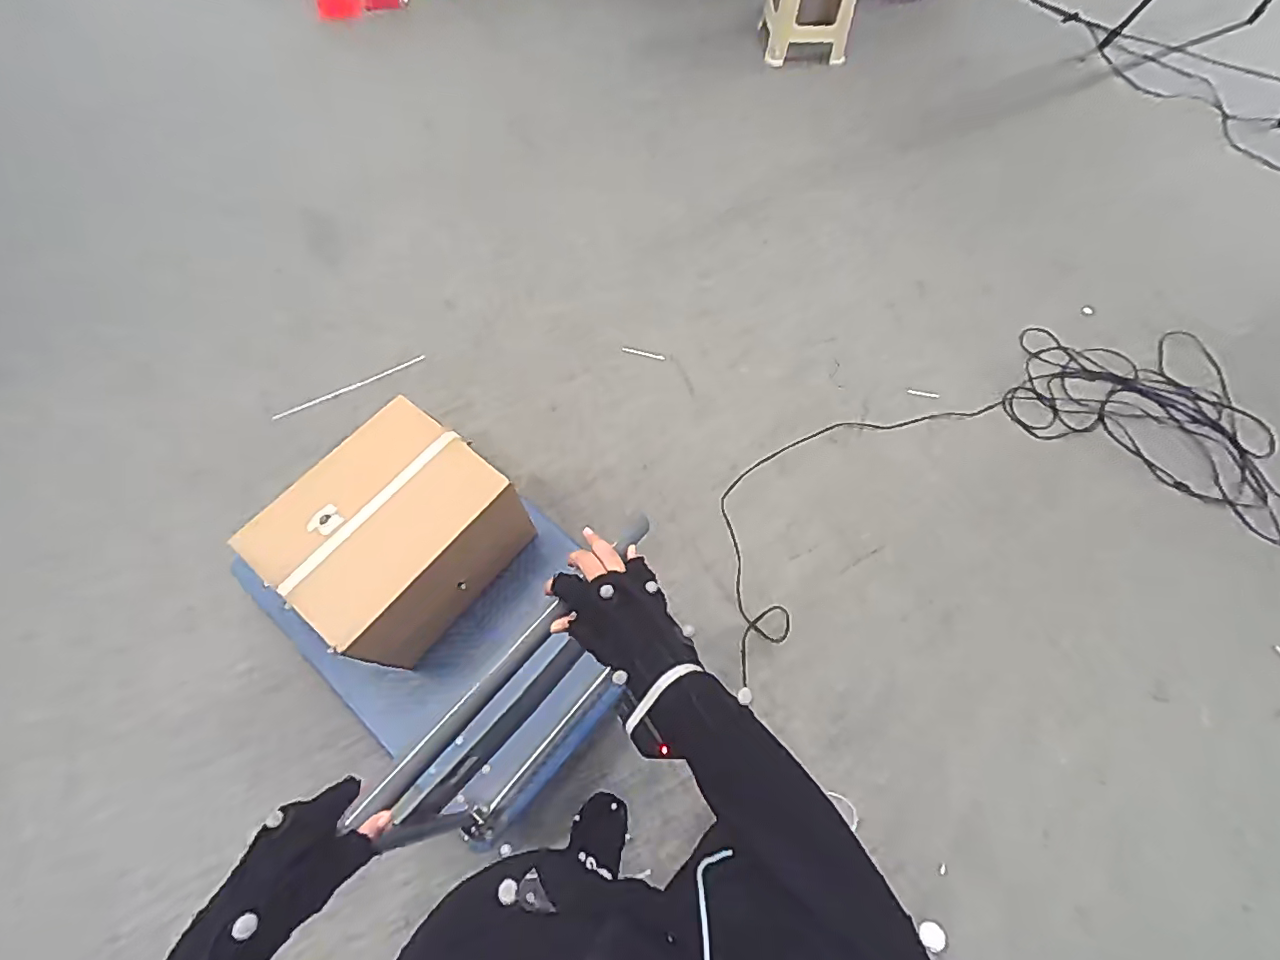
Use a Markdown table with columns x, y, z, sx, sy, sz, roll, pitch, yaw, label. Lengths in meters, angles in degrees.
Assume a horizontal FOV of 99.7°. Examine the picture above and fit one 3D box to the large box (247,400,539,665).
| x | y | z | sx | sy | sz | roll | pitch | yaw | label |
| --- | --- | --- | --- | --- | --- | --- | --- | --- | --- |
| -0.472 | 0.121 | 1.135 | 0.320 | 0.320 | 0.408 | 36 | 71 | 14 | large box |
